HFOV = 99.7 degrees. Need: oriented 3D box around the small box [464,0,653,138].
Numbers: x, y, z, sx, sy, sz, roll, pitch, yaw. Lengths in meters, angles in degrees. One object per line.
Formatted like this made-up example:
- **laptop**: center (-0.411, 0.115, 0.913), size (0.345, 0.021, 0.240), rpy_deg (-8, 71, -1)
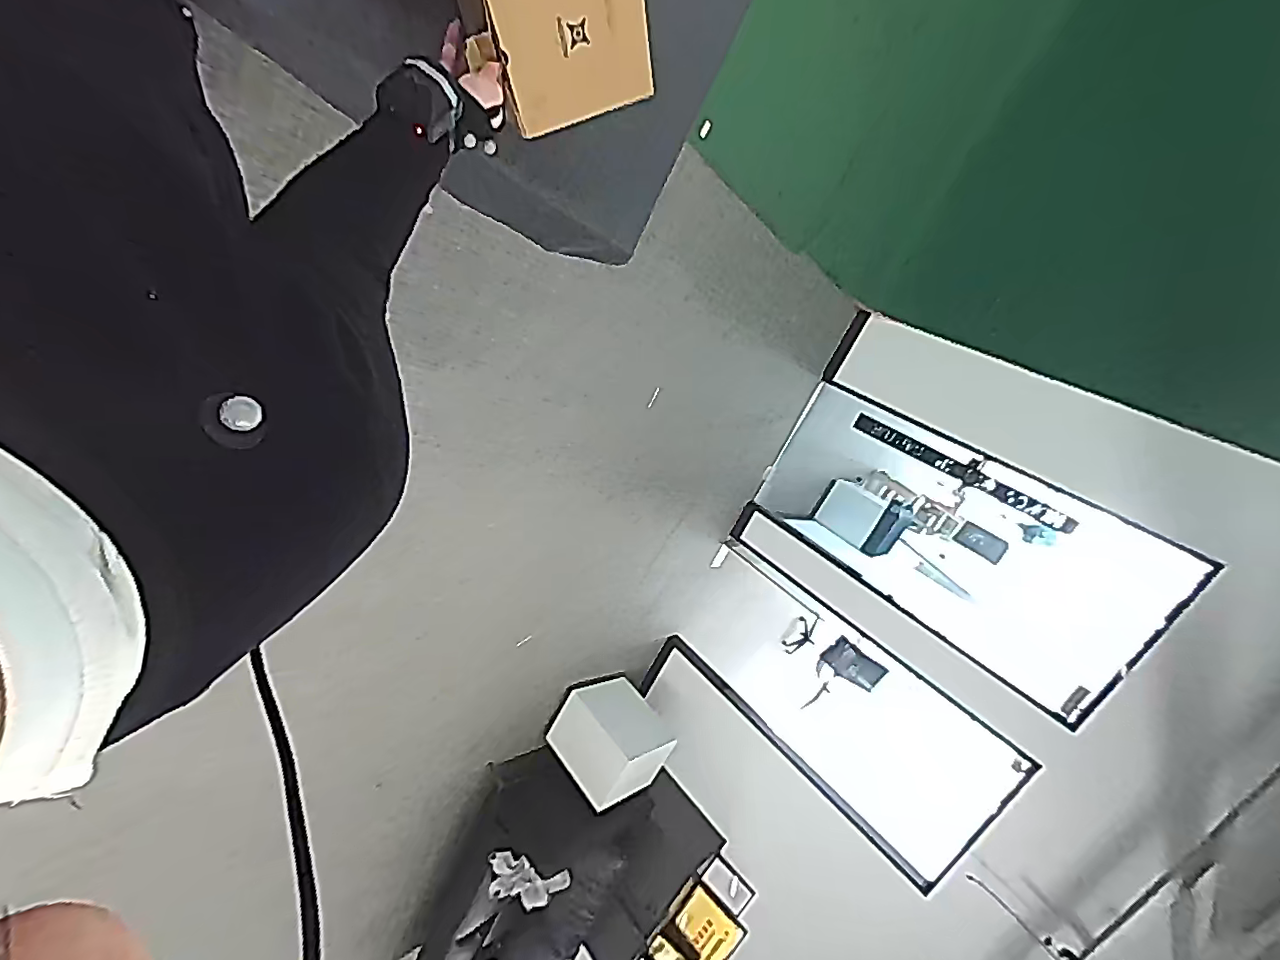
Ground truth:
- **small box**: center (-0.105, -0.547, 0.640), size (0.179, 0.176, 0.168), rpy_deg (-25, 146, -8)
